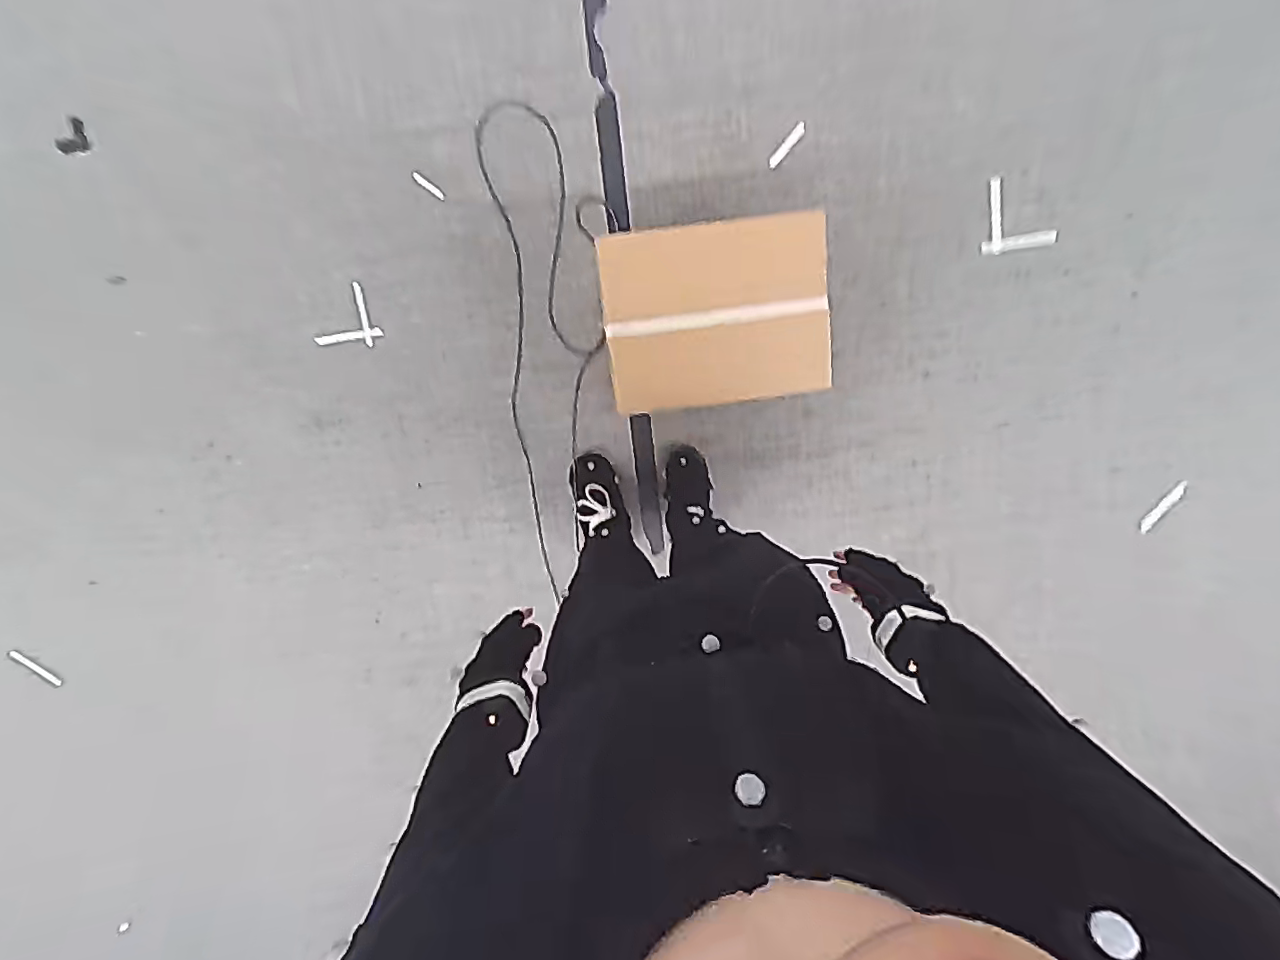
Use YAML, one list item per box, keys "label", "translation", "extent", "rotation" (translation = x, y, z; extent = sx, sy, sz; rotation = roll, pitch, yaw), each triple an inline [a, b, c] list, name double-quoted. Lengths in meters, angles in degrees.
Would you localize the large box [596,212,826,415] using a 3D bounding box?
- label: "large box"
  translation: [0.131, -0.333, 1.126]
  extent: [0.408, 0.320, 0.320]
  rotation: [-8, 103, -1]
